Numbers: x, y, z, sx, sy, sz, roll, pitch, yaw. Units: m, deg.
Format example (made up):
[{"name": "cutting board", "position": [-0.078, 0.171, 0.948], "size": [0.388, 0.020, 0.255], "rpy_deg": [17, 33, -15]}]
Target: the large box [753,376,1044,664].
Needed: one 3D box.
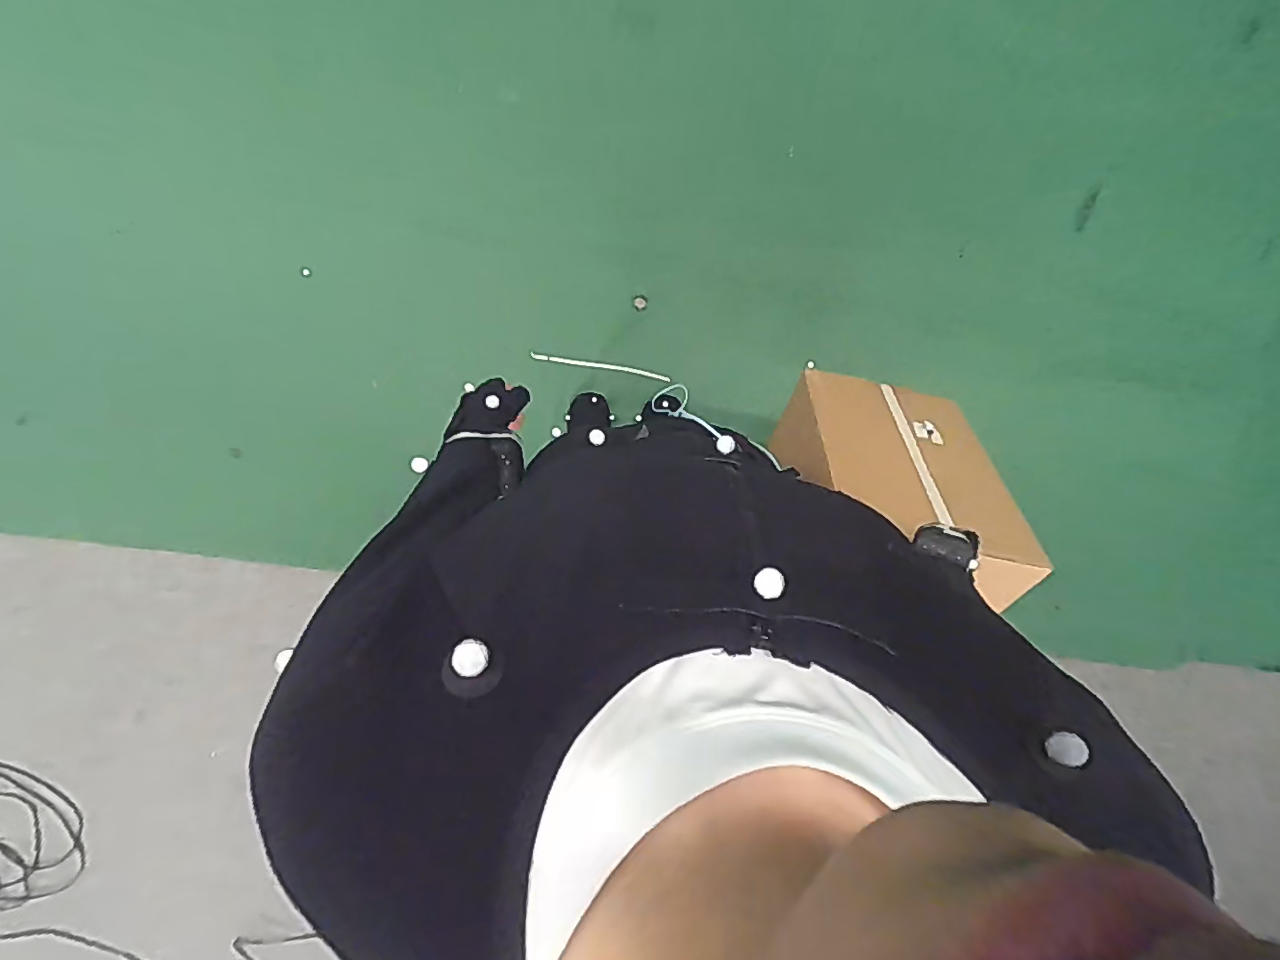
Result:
[{"name": "large box", "position": [0.415, 0.070, 0.999], "size": [0.320, 0.408, 0.320], "rpy_deg": [12, 133, -5]}]
